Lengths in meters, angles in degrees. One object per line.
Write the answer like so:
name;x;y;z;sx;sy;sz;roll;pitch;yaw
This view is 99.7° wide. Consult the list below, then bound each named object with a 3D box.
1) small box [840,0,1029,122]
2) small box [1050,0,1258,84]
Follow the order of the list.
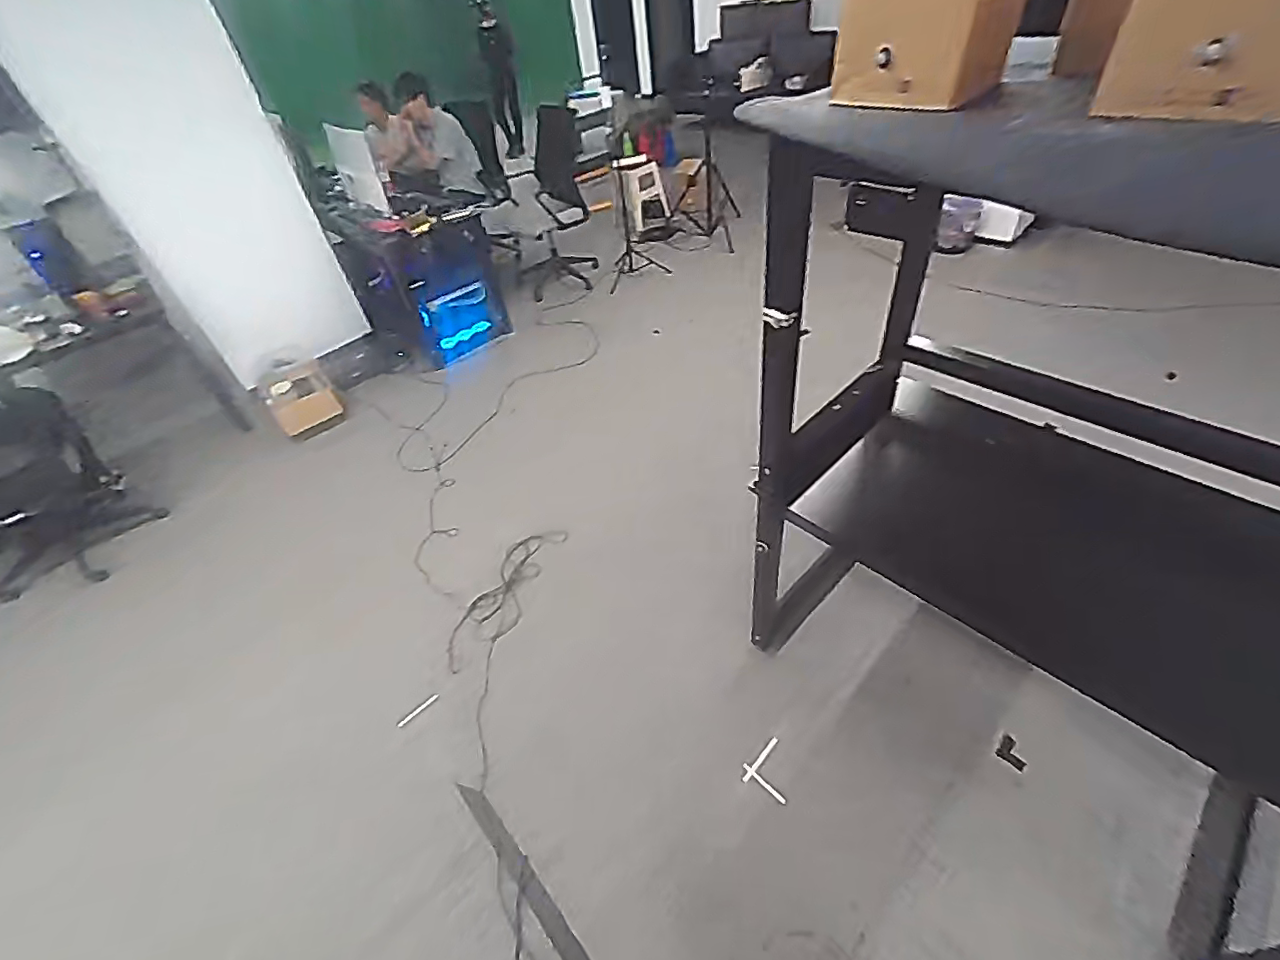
small box;0.381;-0.587;0.700;0.168;0.176;0.179;31;56;33
small box;0.679;-0.625;0.692;0.179;0.176;0.168;31;56;33
